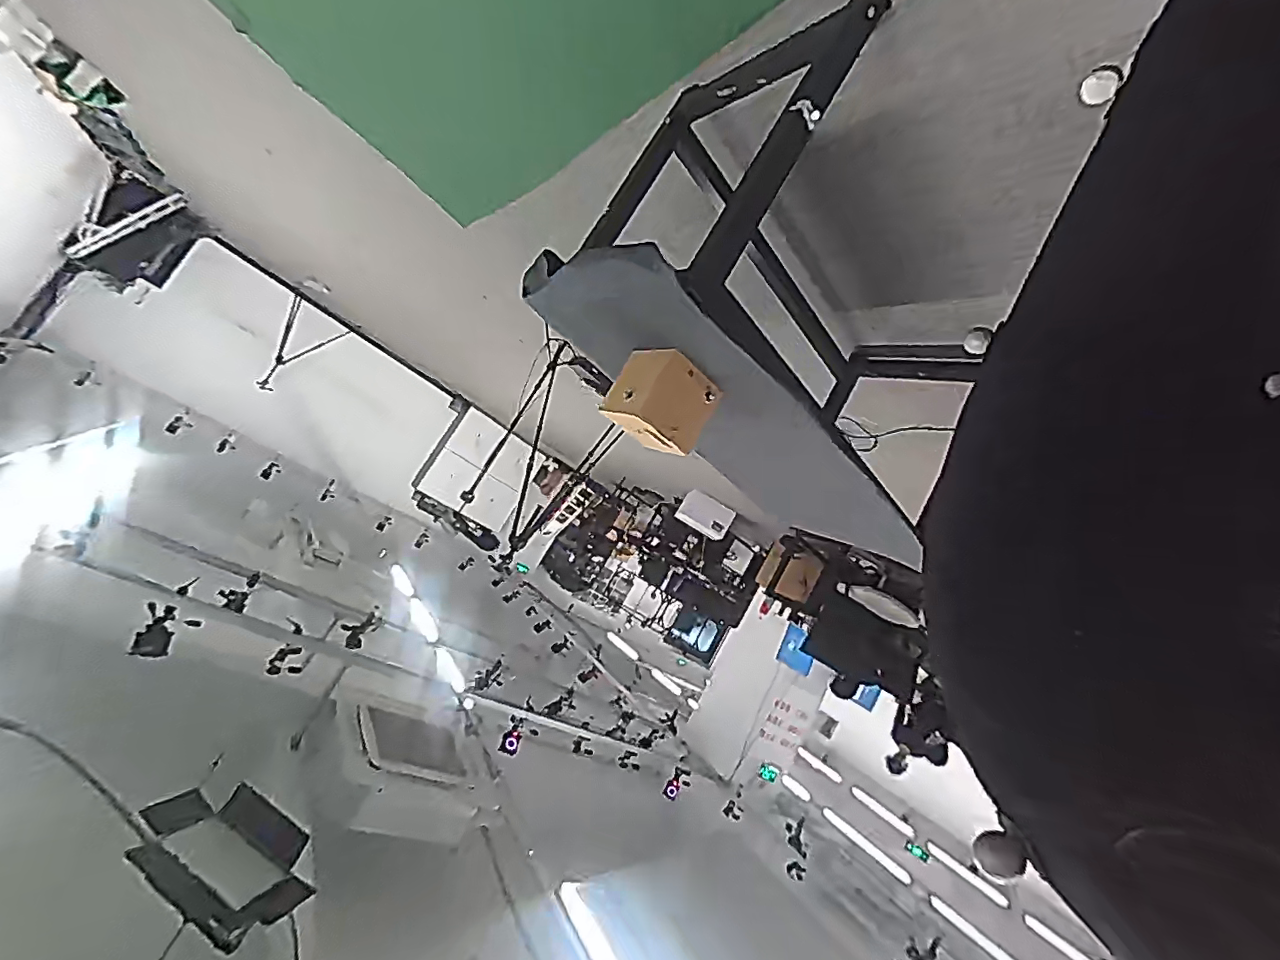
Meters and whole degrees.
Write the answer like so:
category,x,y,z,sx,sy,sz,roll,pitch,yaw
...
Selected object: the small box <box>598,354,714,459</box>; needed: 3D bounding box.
category,x,y,z,sx,sy,sz,roll,pitch,yaw
small box,0.042,-0.169,1.212,0.168,0.176,0.179,36,171,-32
